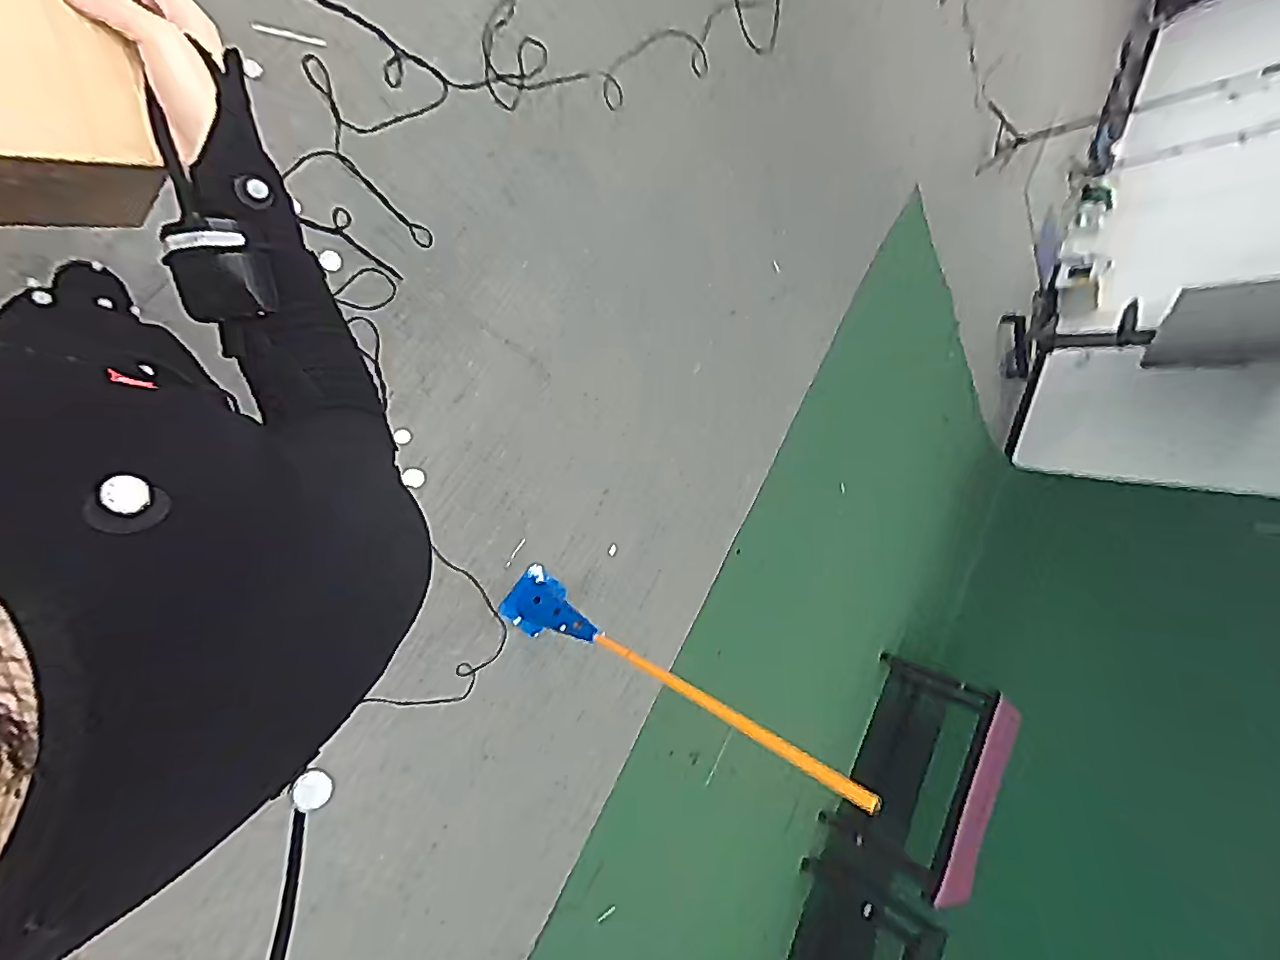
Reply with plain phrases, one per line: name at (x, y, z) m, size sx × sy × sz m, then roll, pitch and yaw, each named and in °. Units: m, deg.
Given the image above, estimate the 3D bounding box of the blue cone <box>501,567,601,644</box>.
blue cone at (-0.259, 0.432, 1.717) m, size 0.193 × 0.380 × 0.192 m, roll -54°, pitch 129°, yaw -22°

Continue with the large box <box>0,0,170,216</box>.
large box at (-0.580, -0.338, 0.294) m, size 0.408 × 0.320 × 0.320 m, roll -22°, pitch 117°, yaw -42°
